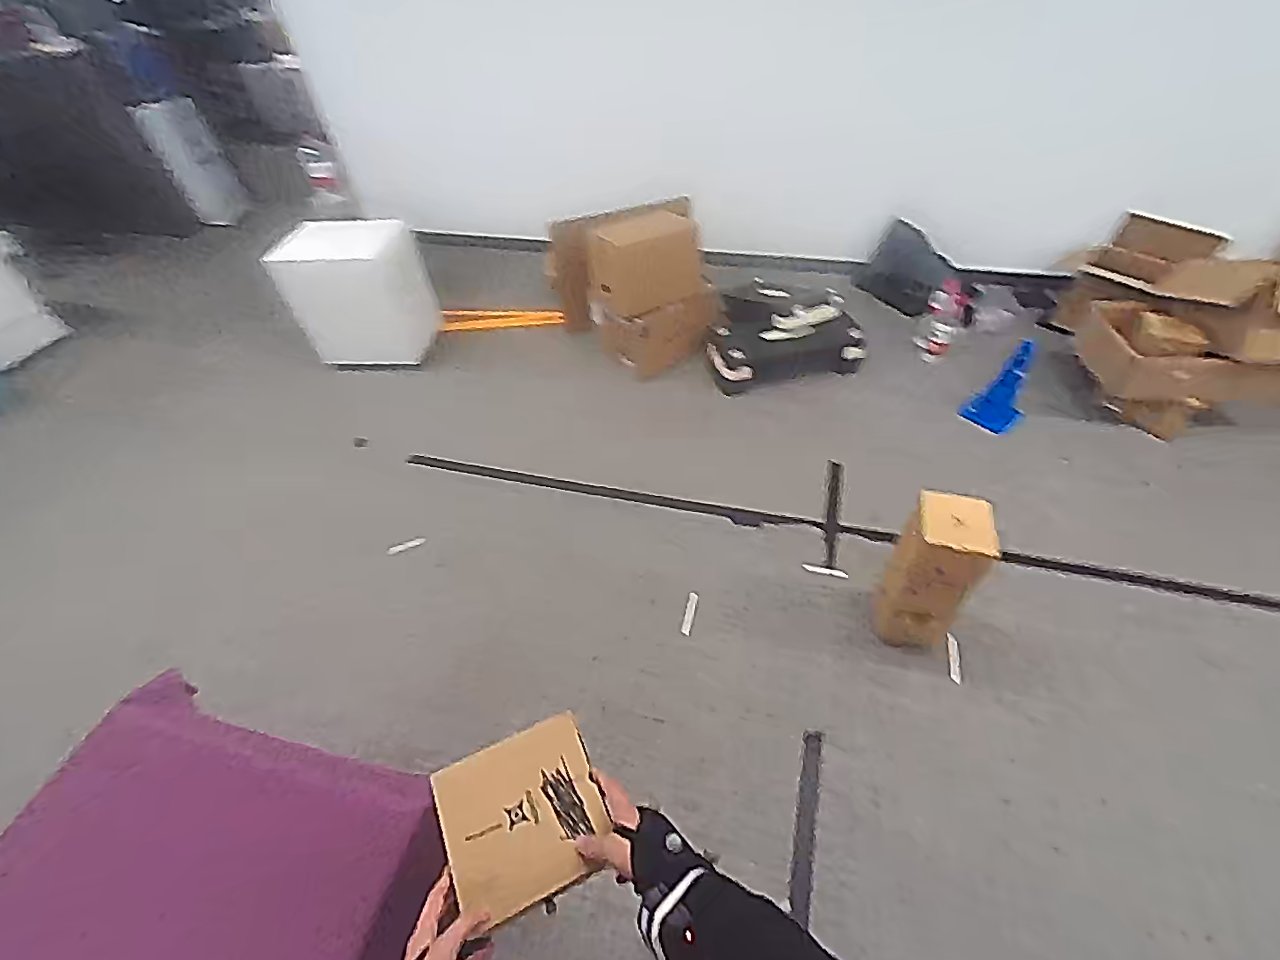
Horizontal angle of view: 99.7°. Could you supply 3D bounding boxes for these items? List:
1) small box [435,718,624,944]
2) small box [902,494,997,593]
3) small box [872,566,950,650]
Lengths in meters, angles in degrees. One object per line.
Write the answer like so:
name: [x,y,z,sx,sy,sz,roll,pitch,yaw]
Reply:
small box: [-0.131,0.427,0.670,0.179,0.176,0.168,-19,56,-16]
small box: [0.799,0.166,1.417,0.168,0.176,0.179,11,50,12]
small box: [0.820,0.391,1.655,0.168,0.176,0.179,7,50,11]
